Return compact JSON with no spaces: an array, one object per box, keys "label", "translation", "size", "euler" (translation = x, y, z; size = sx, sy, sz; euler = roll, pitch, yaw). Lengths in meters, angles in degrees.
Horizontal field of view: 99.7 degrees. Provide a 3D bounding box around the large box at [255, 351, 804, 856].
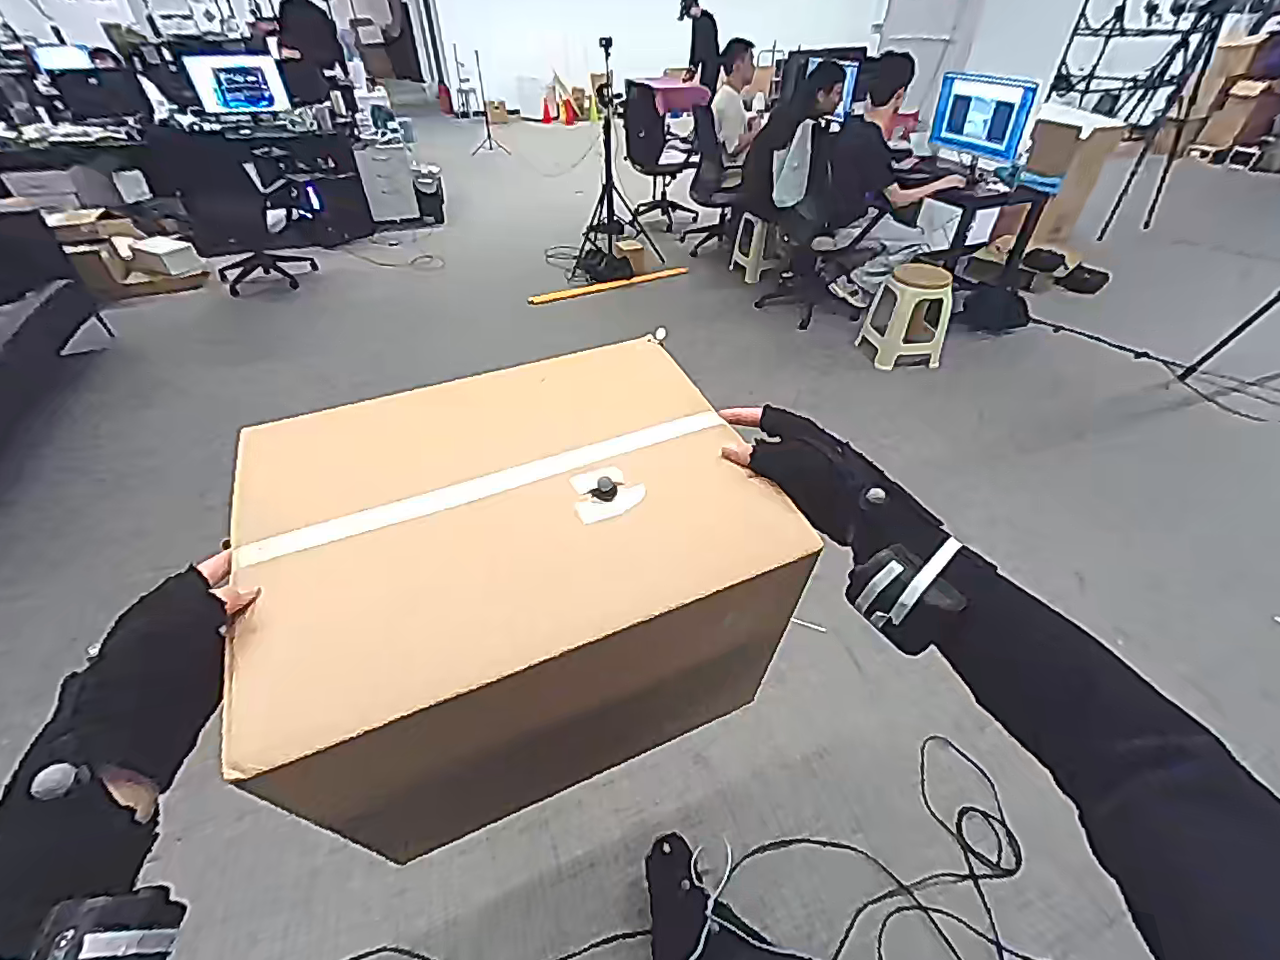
[{"label":"large box","translation":[-0.111,0.111,0.572],"size":[0.408,0.320,0.320],"euler":[-17,50,-18]}]
